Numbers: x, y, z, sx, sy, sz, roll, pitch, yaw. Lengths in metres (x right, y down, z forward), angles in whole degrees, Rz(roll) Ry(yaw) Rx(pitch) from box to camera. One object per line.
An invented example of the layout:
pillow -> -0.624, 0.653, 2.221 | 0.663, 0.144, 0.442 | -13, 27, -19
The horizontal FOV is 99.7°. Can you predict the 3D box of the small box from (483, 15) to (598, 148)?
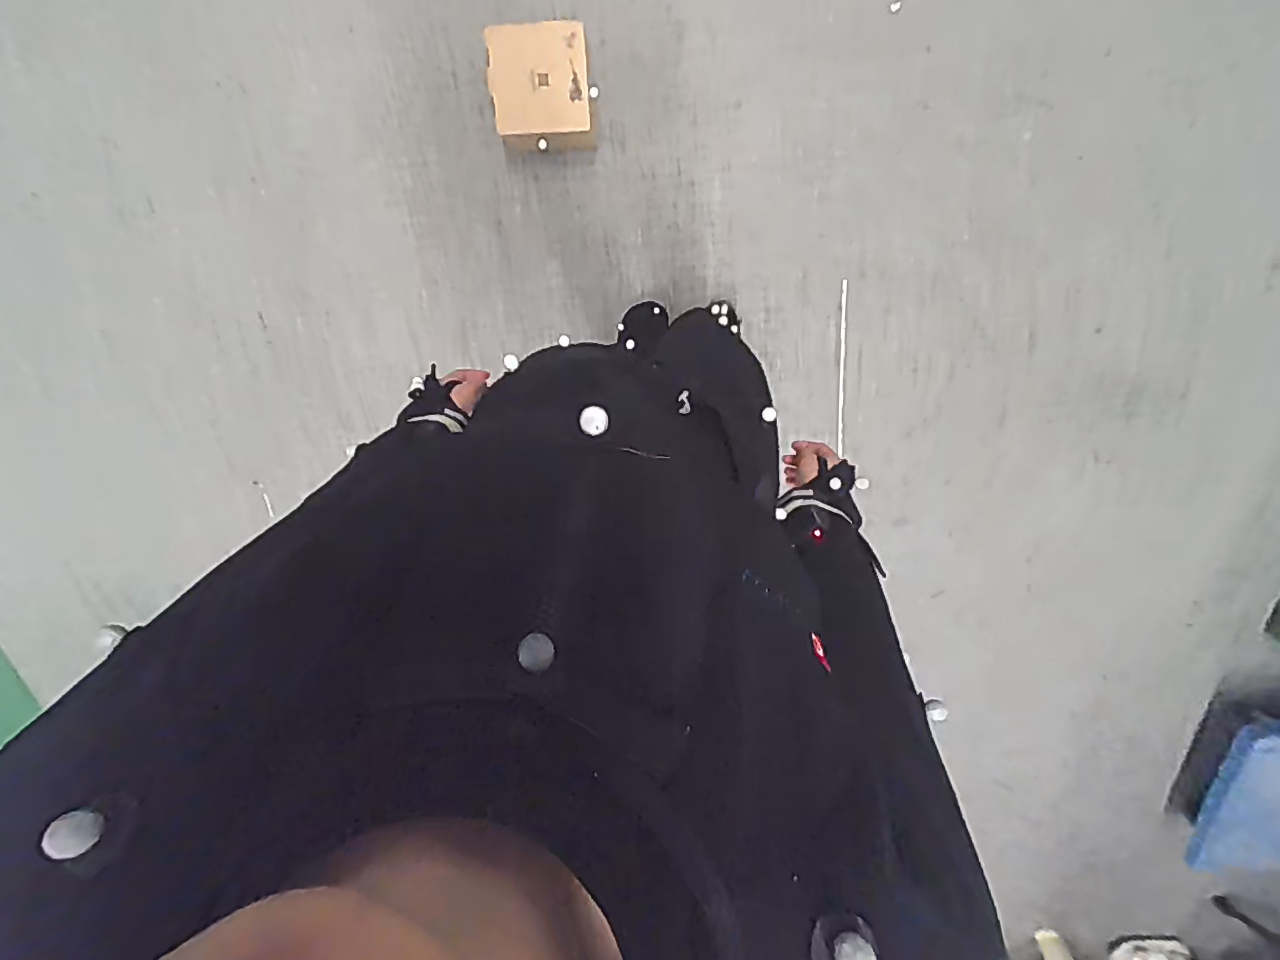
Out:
small box -> -0.179, -0.742, 1.025 | 0.179, 0.176, 0.168 | -2, 112, 2
